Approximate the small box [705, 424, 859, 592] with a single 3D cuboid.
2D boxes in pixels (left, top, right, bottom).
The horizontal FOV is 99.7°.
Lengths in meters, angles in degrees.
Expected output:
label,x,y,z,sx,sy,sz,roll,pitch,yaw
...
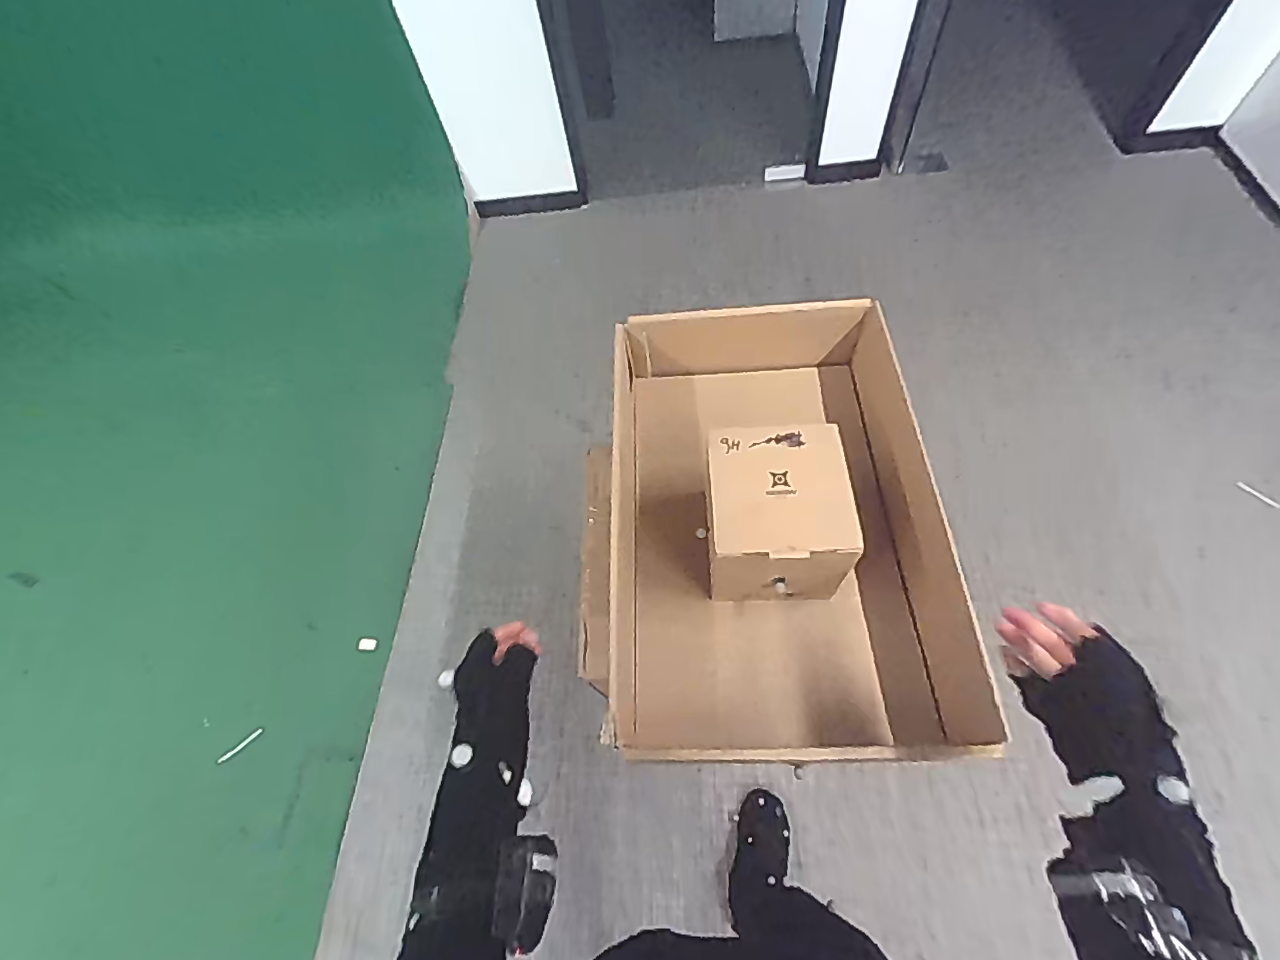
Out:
label,x,y,z,sx,sy,sz,roll,pitch,yaw
small box,0.174,0.045,0.720,0.168,0.176,0.179,-1,61,4
